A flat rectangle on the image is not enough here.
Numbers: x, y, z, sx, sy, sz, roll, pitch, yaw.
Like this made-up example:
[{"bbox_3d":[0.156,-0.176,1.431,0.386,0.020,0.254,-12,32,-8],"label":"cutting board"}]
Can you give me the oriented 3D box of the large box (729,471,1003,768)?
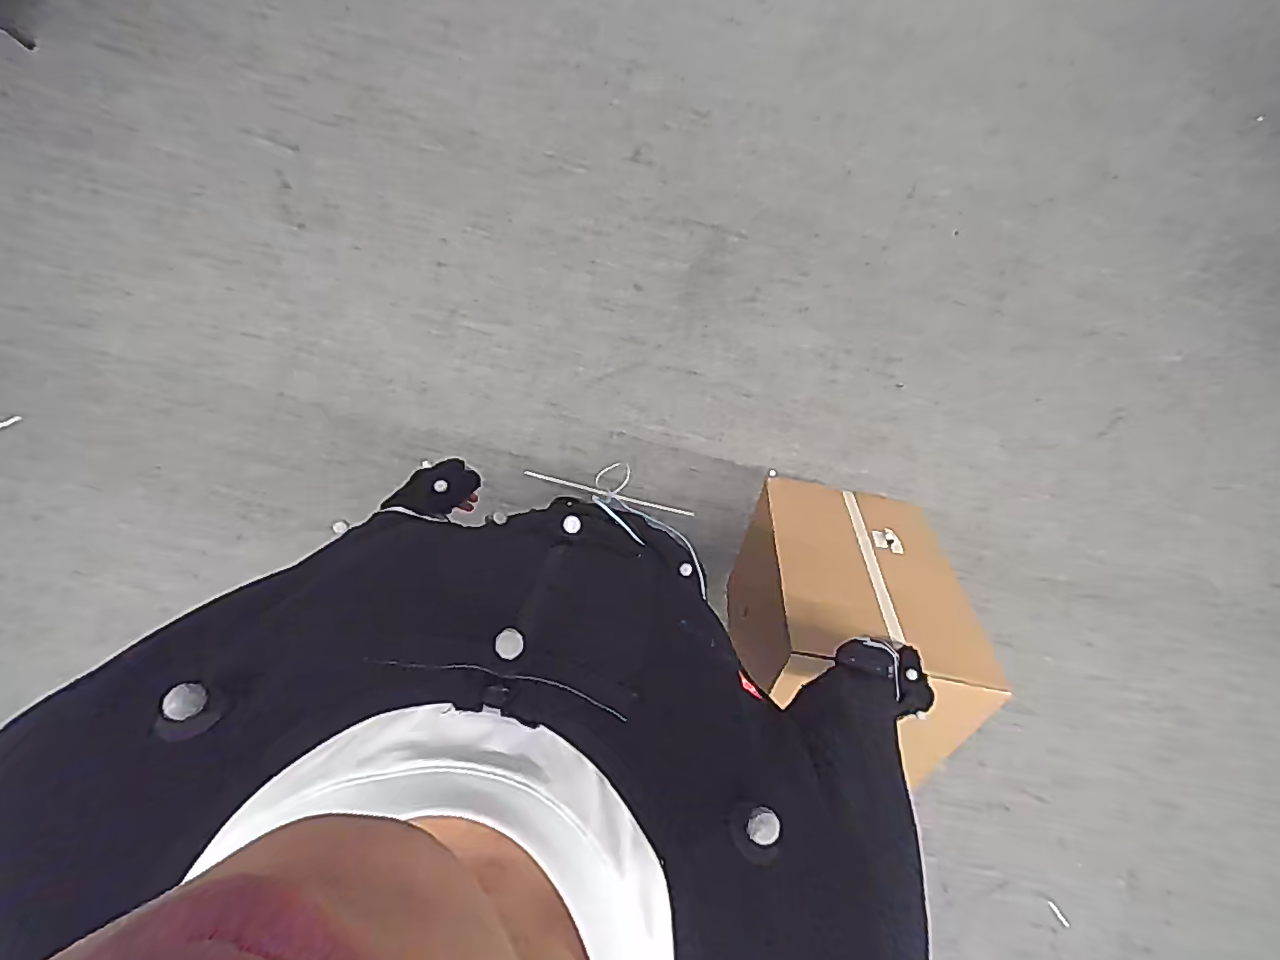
[{"bbox_3d":[0.355,0.243,0.994,0.320,0.408,0.320,11,127,-1],"label":"large box"}]
